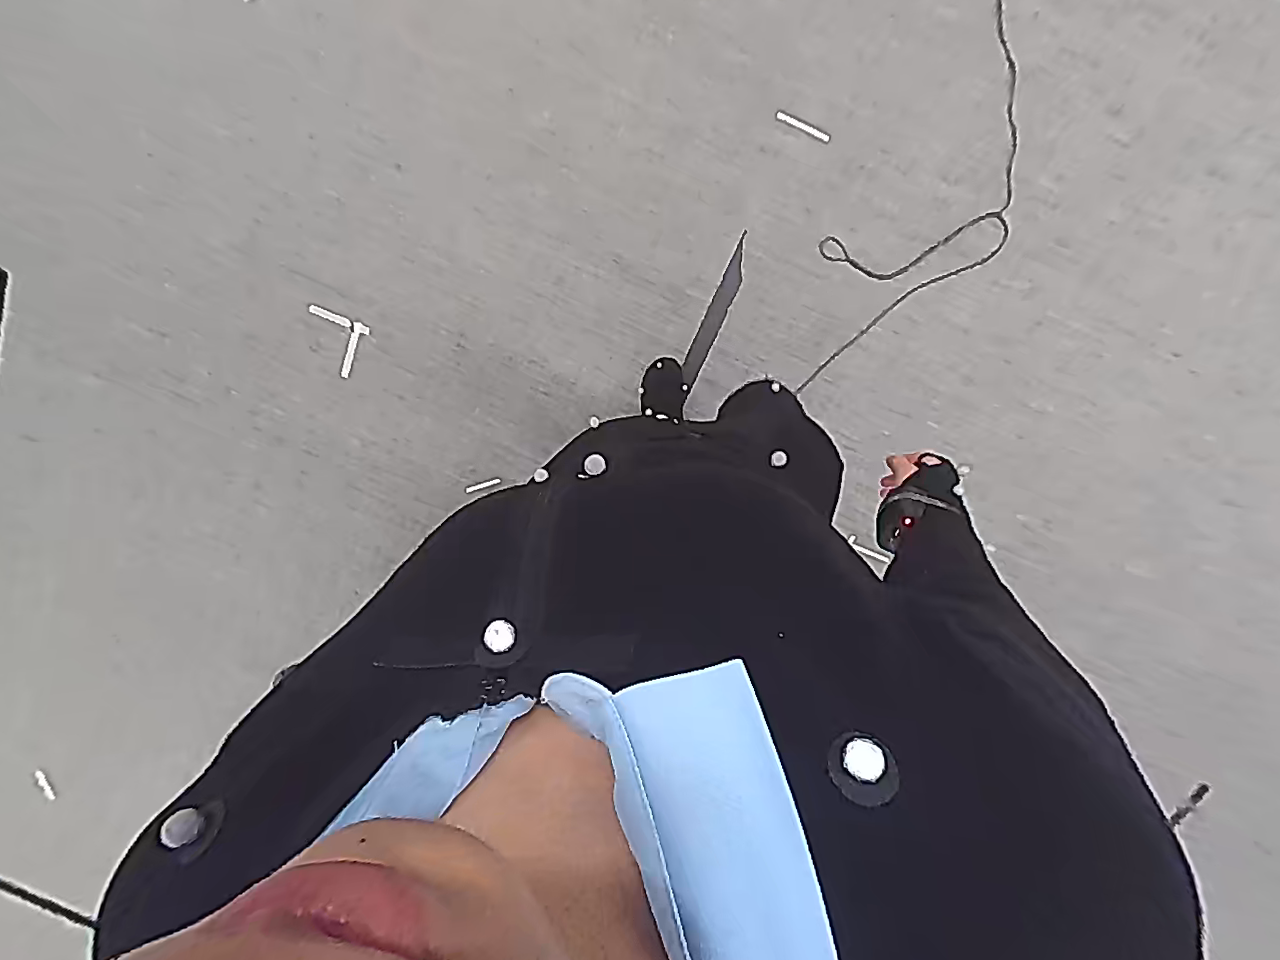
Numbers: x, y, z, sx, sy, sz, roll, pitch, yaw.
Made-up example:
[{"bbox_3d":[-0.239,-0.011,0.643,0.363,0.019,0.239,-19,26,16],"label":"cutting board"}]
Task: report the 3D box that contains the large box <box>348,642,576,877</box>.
[{"bbox_3d":[-0.418,0.669,1.344,0.408,0.320,0.320,23,103,-2],"label":"large box"}]
